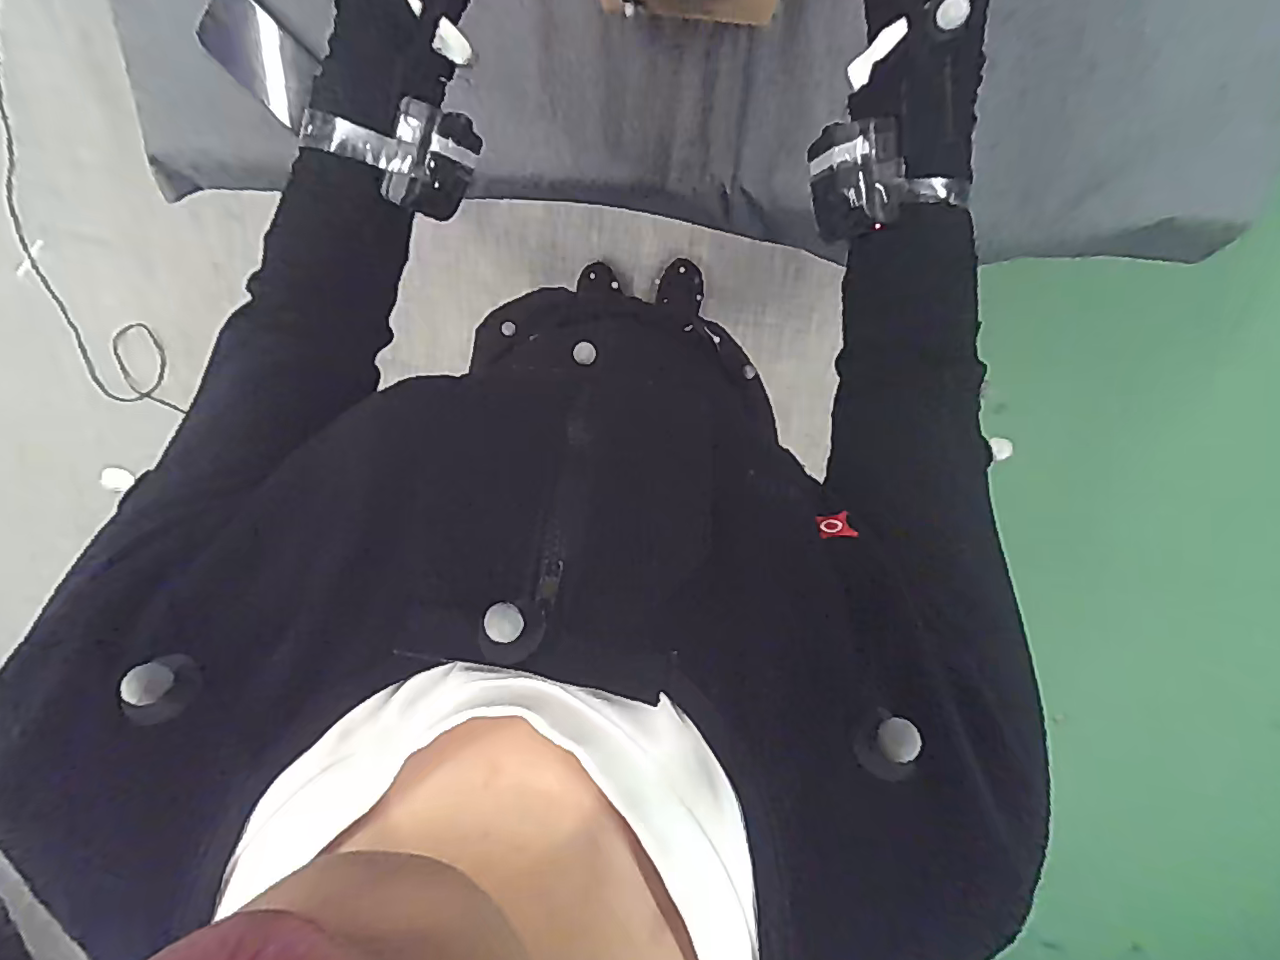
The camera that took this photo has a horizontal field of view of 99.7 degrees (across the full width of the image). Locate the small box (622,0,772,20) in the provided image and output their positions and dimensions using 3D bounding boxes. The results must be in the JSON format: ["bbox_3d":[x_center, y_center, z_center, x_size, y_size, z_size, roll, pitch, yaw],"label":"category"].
[{"bbox_3d":[0.047,-0.504,0.426,0.168,0.176,0.179,7,112,1],"label":"small box"}]
